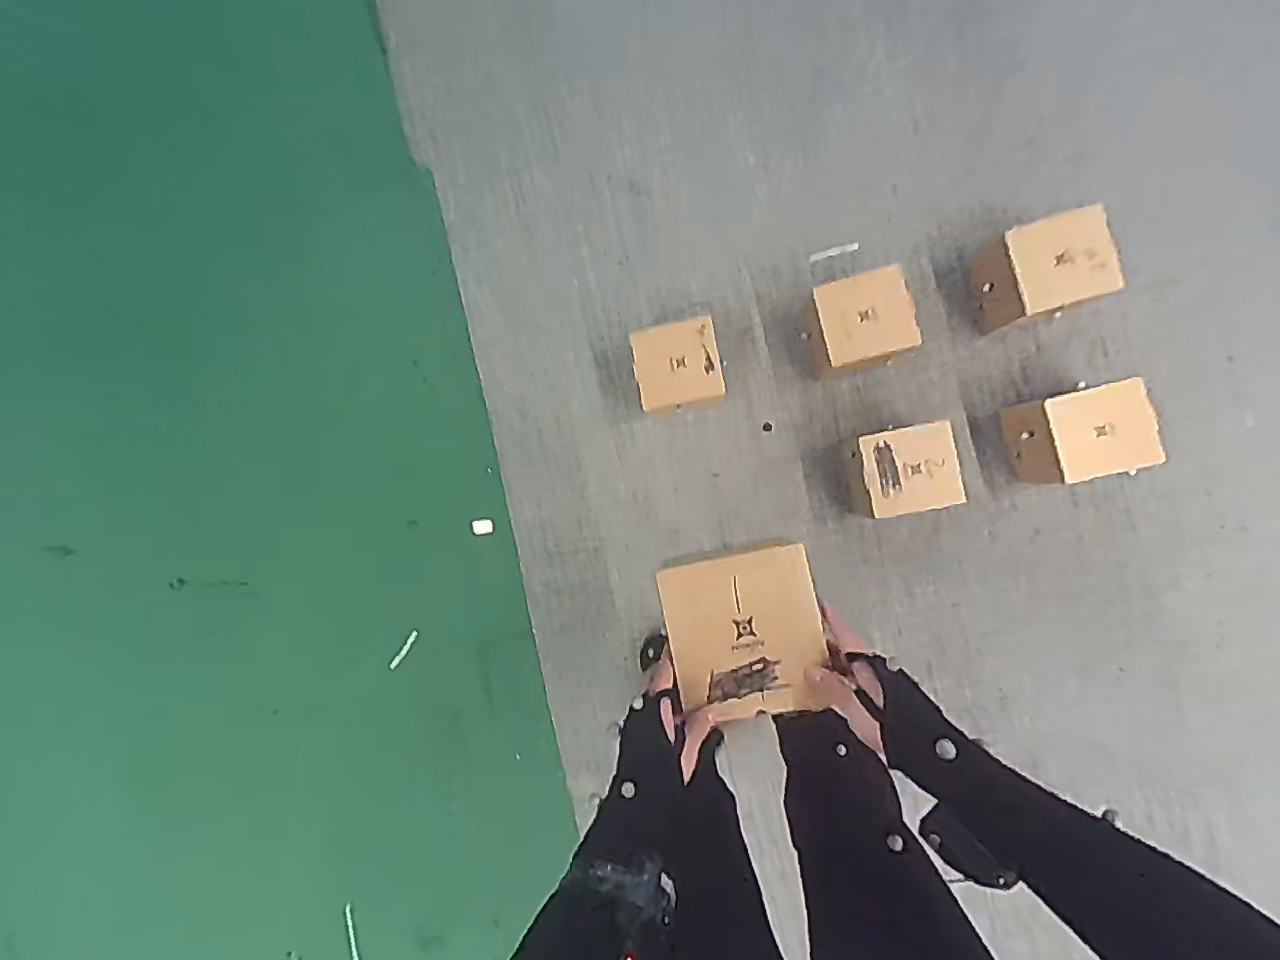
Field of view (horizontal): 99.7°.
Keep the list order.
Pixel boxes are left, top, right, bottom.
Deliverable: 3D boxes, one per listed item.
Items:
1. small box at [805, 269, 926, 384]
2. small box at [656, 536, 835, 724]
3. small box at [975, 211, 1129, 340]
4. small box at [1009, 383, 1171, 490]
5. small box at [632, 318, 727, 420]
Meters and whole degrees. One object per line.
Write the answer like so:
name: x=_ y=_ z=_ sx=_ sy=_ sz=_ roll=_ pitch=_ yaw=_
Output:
small box: x=0.459 y=-0.309 z=1.127 sx=0.179 sy=0.176 sz=0.168 roll=-13 pitch=87 yaw=8
small box: x=0.121 y=0.169 z=0.658 sx=0.168 sy=0.176 sz=0.179 roll=-11 pitch=85 yaw=5
small box: x=0.803 y=-0.395 z=1.078 sx=0.179 sy=0.176 sz=0.168 roll=-14 pitch=88 yaw=7
small box: x=0.869 y=-0.077 z=1.070 sx=0.179 sy=0.176 sz=0.168 roll=-14 pitch=87 yaw=7
small box: x=0.092 y=-0.232 z=1.177 sx=0.179 sy=0.176 sz=0.168 roll=-10 pitch=88 yaw=8
